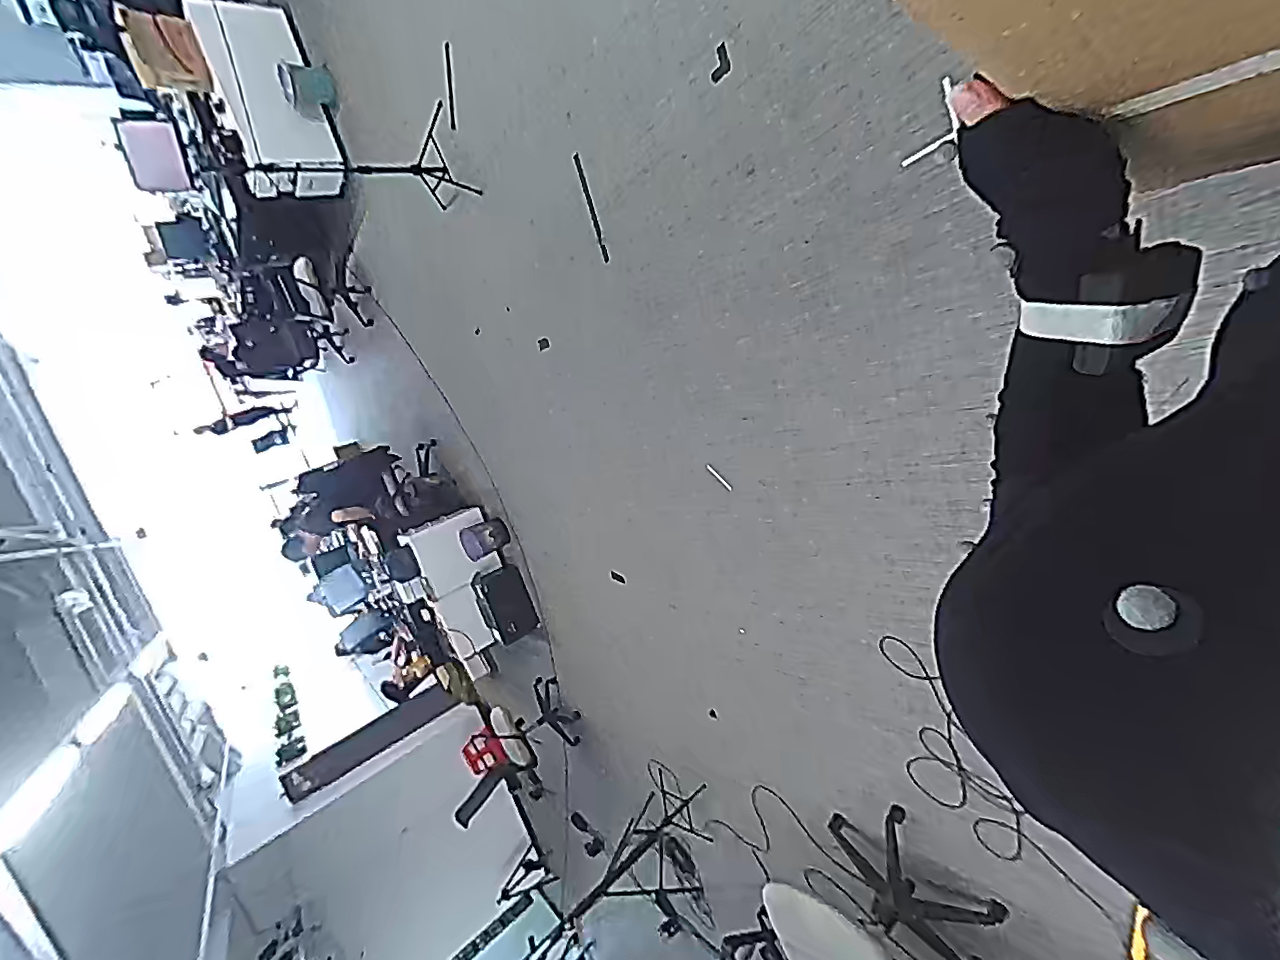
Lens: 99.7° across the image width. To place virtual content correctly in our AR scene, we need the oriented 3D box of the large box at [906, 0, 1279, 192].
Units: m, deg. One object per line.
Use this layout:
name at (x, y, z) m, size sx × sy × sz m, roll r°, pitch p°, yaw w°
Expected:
large box at (0.335, -0.320, 0.114) m, size 0.408 × 0.320 × 0.320 m, roll 11°, pitch 103°, yaw 54°
